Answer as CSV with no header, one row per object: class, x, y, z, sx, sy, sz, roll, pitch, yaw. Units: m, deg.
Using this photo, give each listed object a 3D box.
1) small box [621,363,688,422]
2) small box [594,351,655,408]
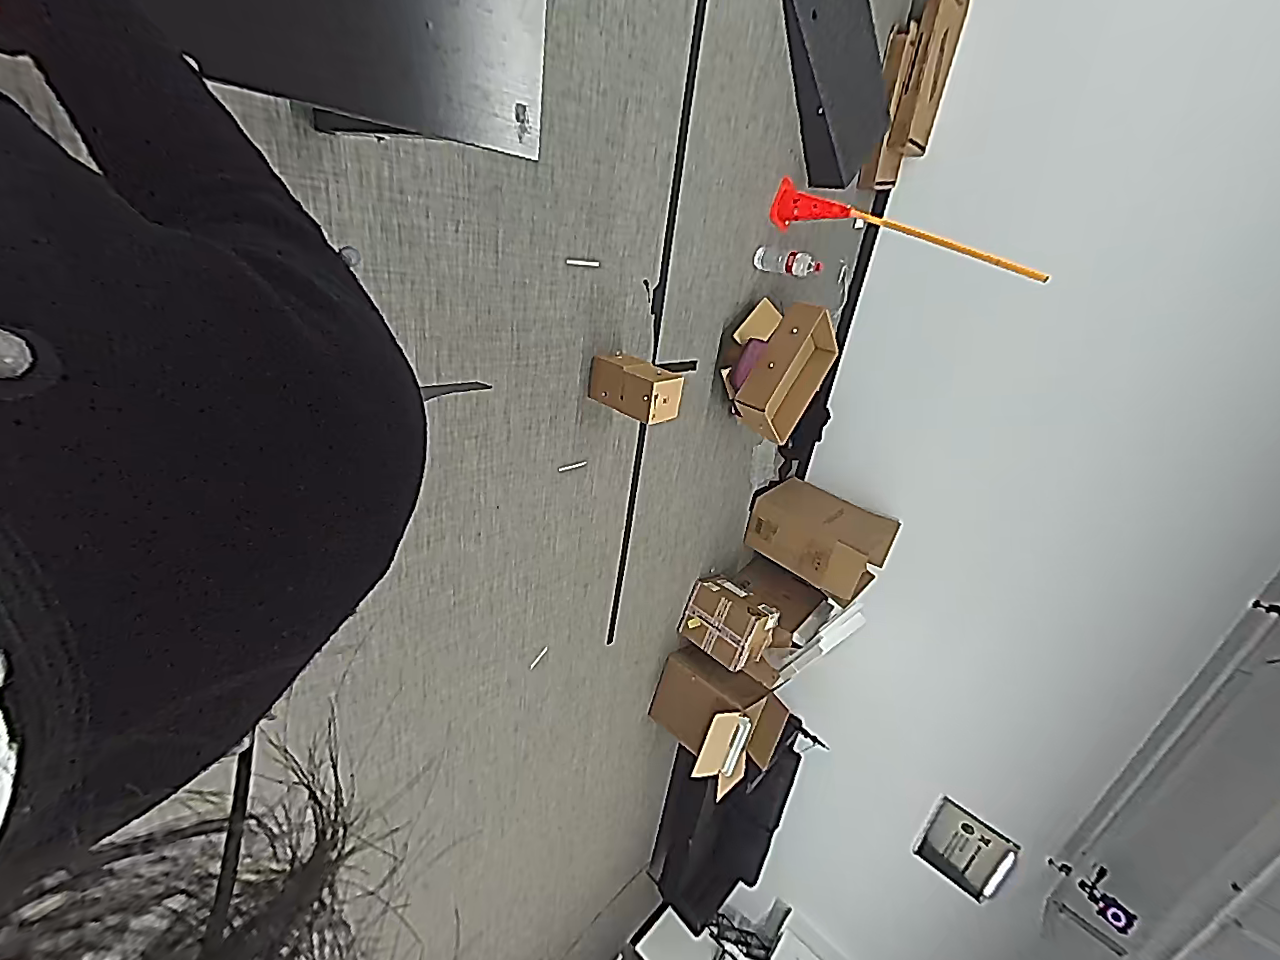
small box,0.053,-0.335,2.040,0.179,0.176,0.168,-22,129,-44
small box,-0.064,-0.400,2.134,0.168,0.176,0.179,-20,127,-45
